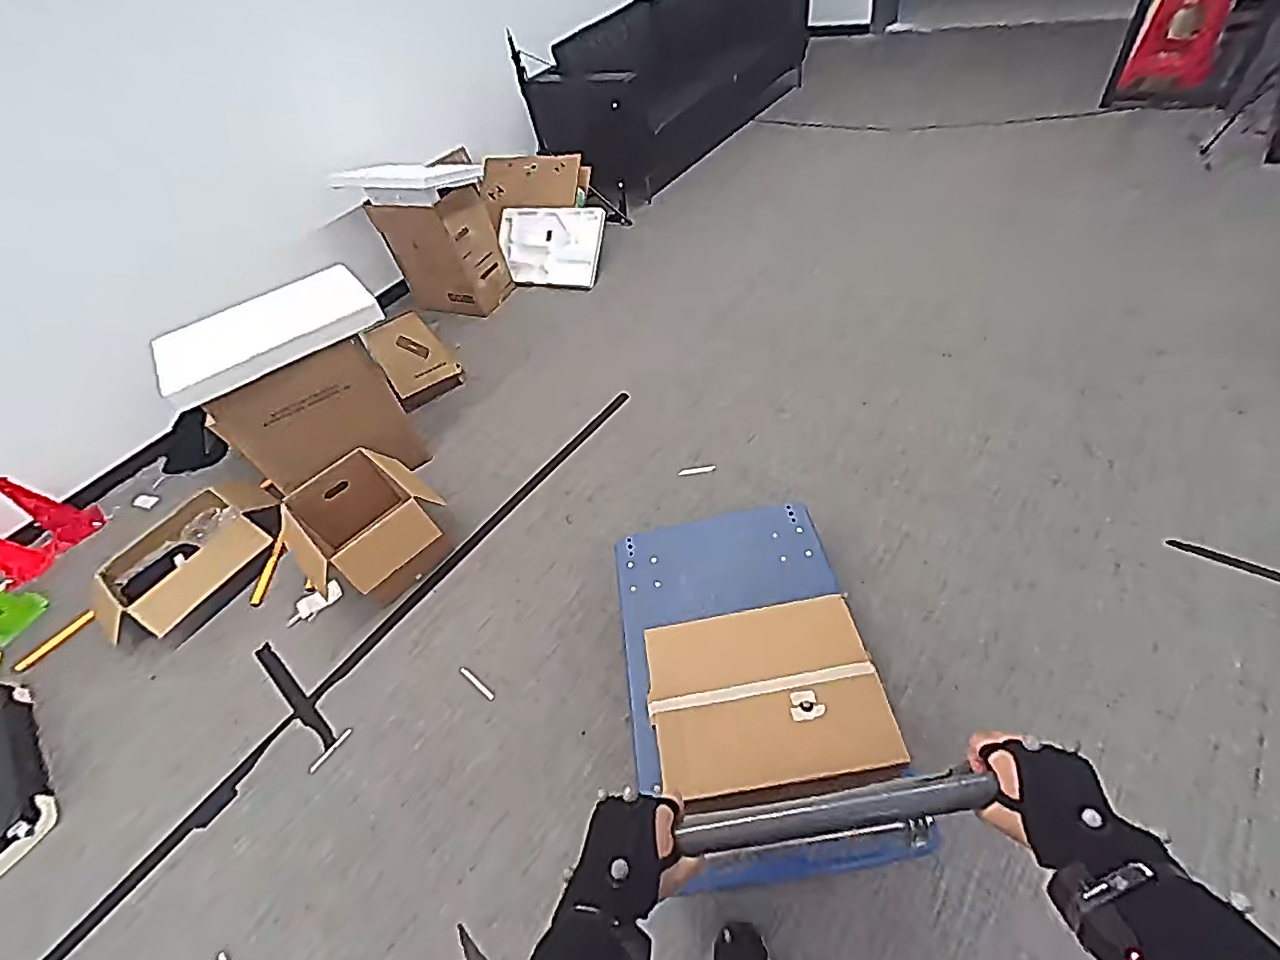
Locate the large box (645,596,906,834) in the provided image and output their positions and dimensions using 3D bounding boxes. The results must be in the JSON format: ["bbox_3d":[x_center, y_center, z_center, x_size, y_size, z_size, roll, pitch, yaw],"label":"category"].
[{"bbox_3d":[0.245,0.479,1.093,0.408,0.320,0.320,-11,48,2],"label":"large box"}]
